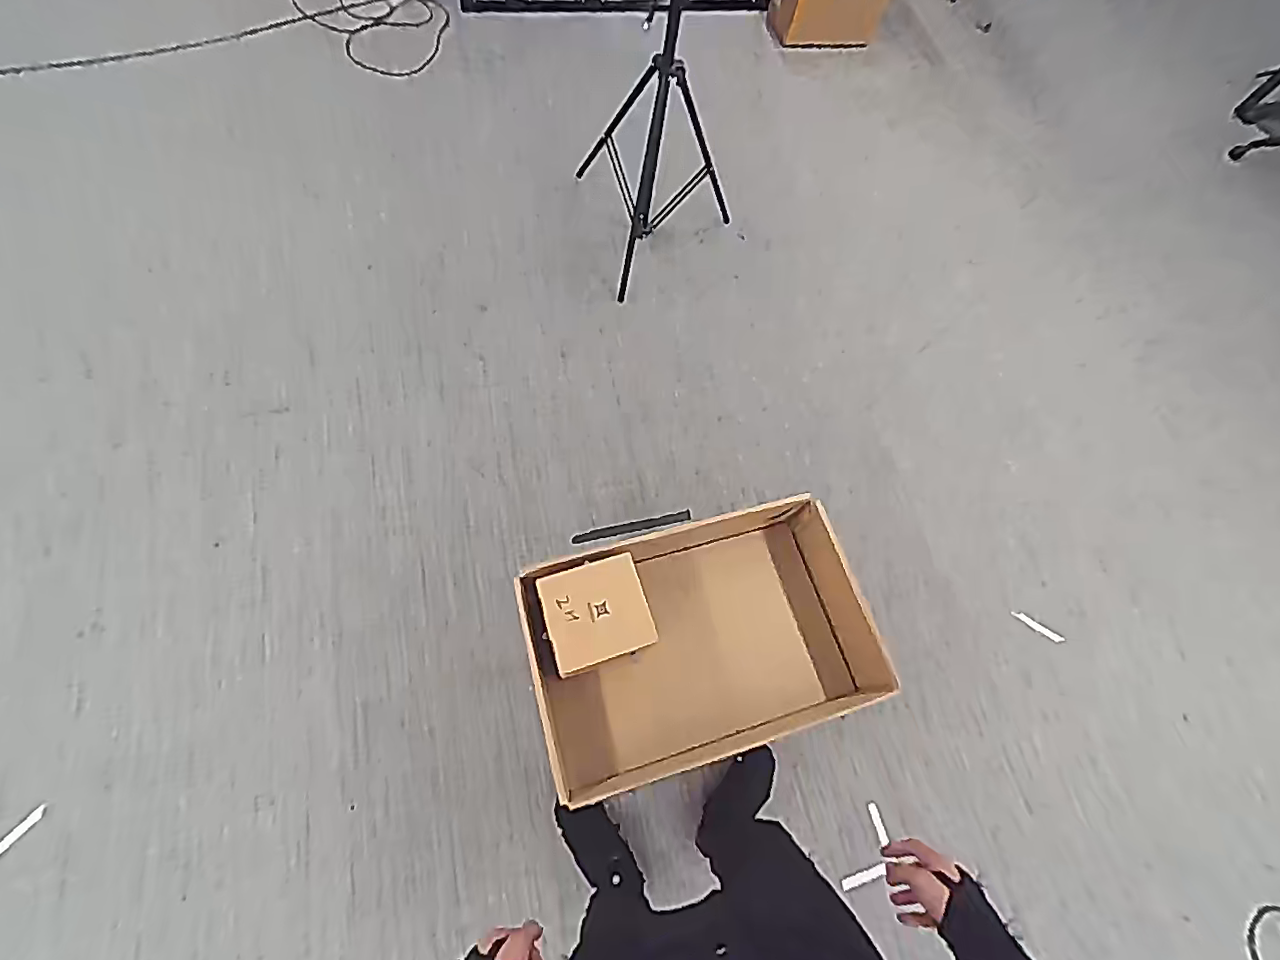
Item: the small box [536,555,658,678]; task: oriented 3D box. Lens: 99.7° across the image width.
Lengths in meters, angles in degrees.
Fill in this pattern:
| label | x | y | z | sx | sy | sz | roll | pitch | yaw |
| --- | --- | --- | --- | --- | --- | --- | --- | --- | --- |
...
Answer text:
| label | x | y | z | sx | sy | sz | roll | pitch | yaw |
| --- | --- | --- | --- | --- | --- | --- | --- | --- | --- |
| small box | -0.084 | 0.254 | 0.995 | 0.179 | 0.176 | 0.168 | -15 | 70 | -12 |
